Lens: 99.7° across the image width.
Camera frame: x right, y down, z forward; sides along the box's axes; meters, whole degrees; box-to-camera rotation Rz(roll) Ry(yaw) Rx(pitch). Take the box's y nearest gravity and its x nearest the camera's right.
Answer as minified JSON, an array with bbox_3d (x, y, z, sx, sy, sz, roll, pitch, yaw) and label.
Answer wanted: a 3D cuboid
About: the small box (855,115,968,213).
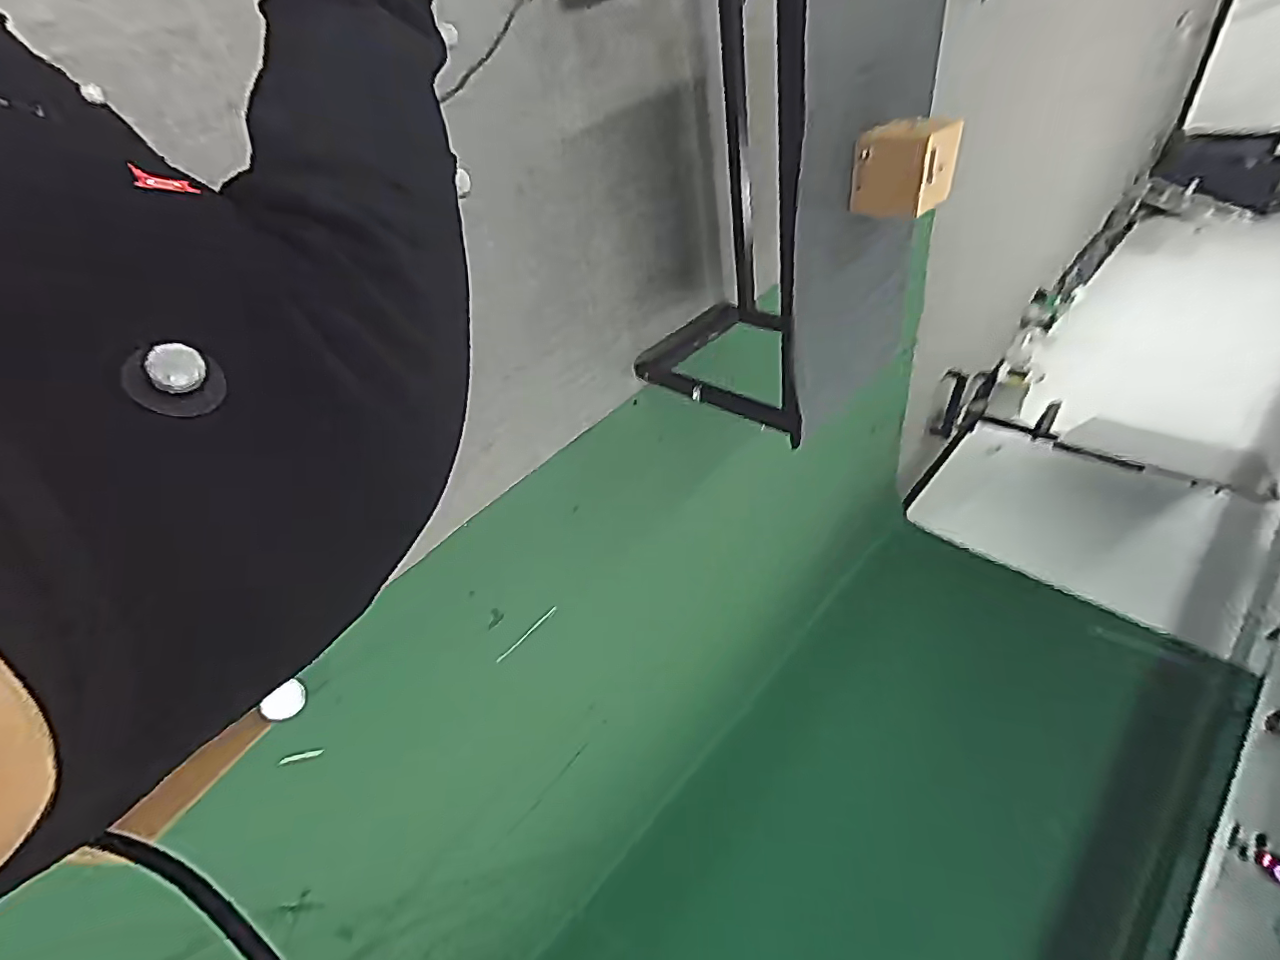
[{"bbox_3d":[0.630,-0.742,1.272,0.179,0.176,0.168,-36,136,-28],"label":"small box"}]
